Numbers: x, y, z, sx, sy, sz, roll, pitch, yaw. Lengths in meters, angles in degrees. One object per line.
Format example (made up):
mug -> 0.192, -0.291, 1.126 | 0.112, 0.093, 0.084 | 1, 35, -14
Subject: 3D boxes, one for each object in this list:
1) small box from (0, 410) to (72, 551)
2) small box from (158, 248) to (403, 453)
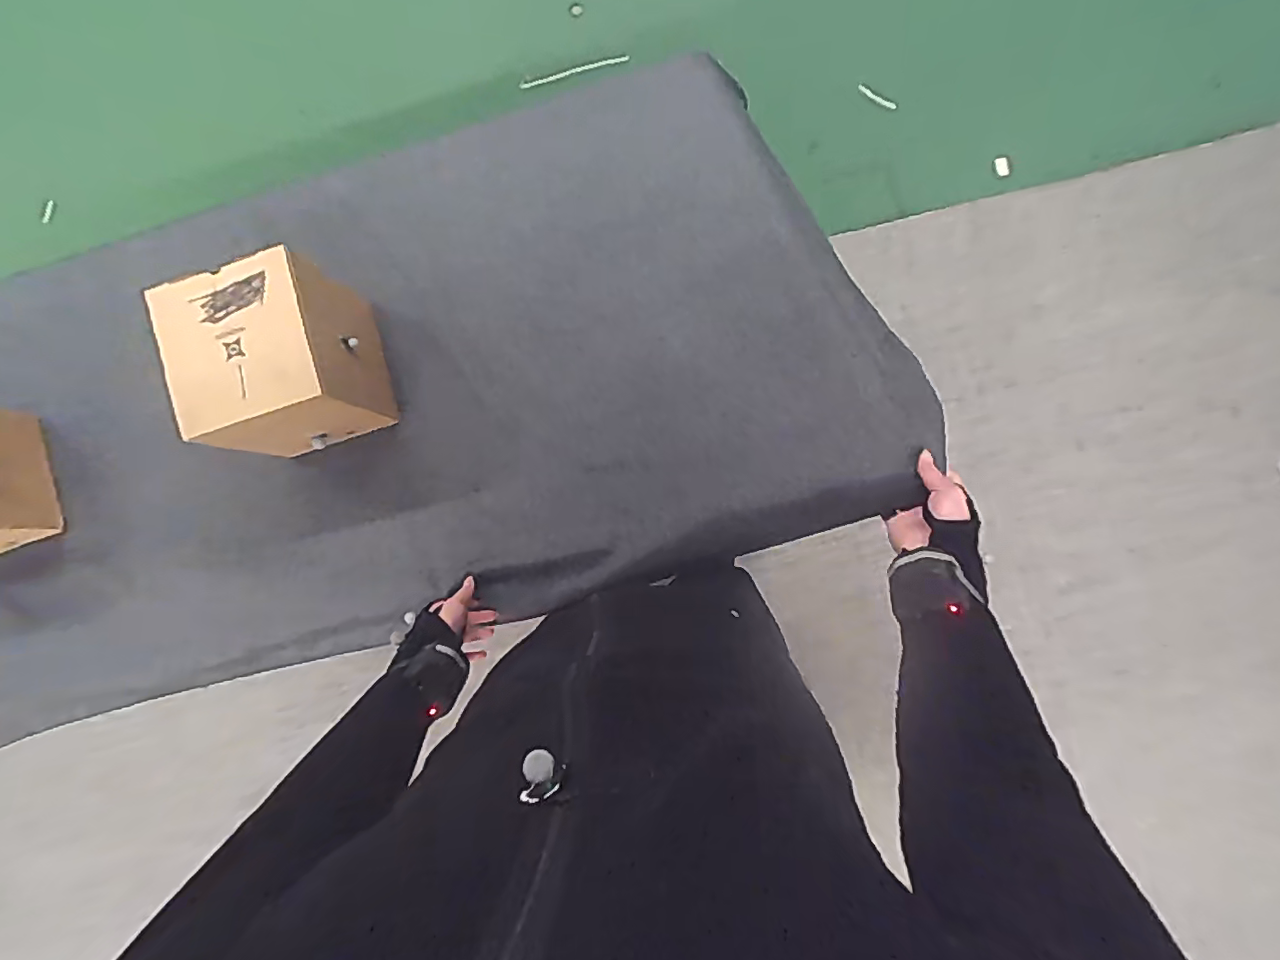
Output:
small box -> -0.898, 0.007, 0.693 | 0.168, 0.176, 0.179 | -19, 85, 3
small box -> -0.423, -0.143, 0.662 | 0.168, 0.176, 0.179 | -17, 86, 4
